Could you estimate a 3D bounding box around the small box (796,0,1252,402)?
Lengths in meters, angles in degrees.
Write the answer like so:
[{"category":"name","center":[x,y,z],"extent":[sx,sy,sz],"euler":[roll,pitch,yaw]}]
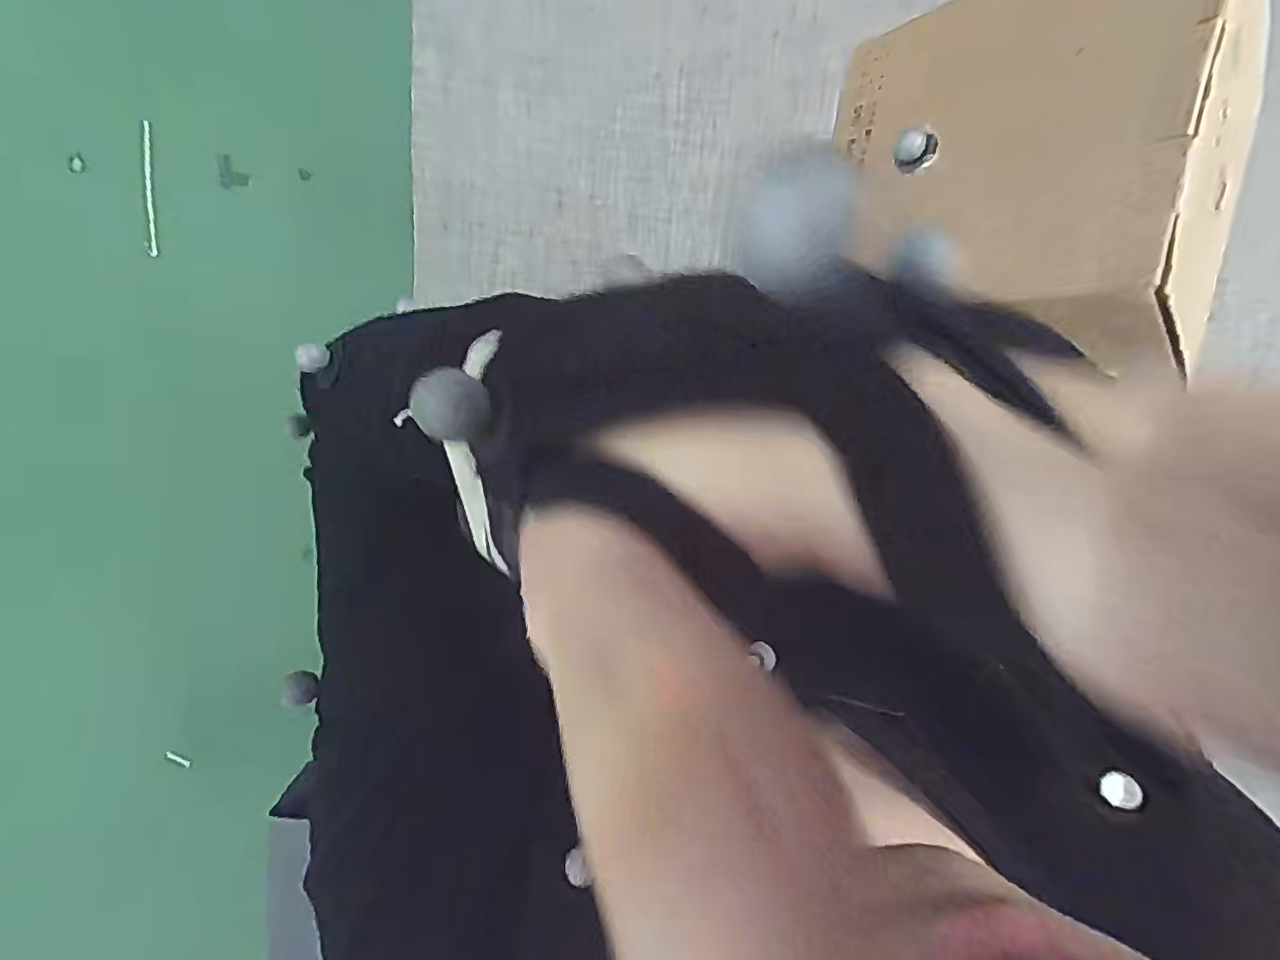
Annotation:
[{"category":"small box","center":[0.226,-0.152,0.332],"extent":[0.179,0.176,0.168],"euler":[10,93,-41]}]
